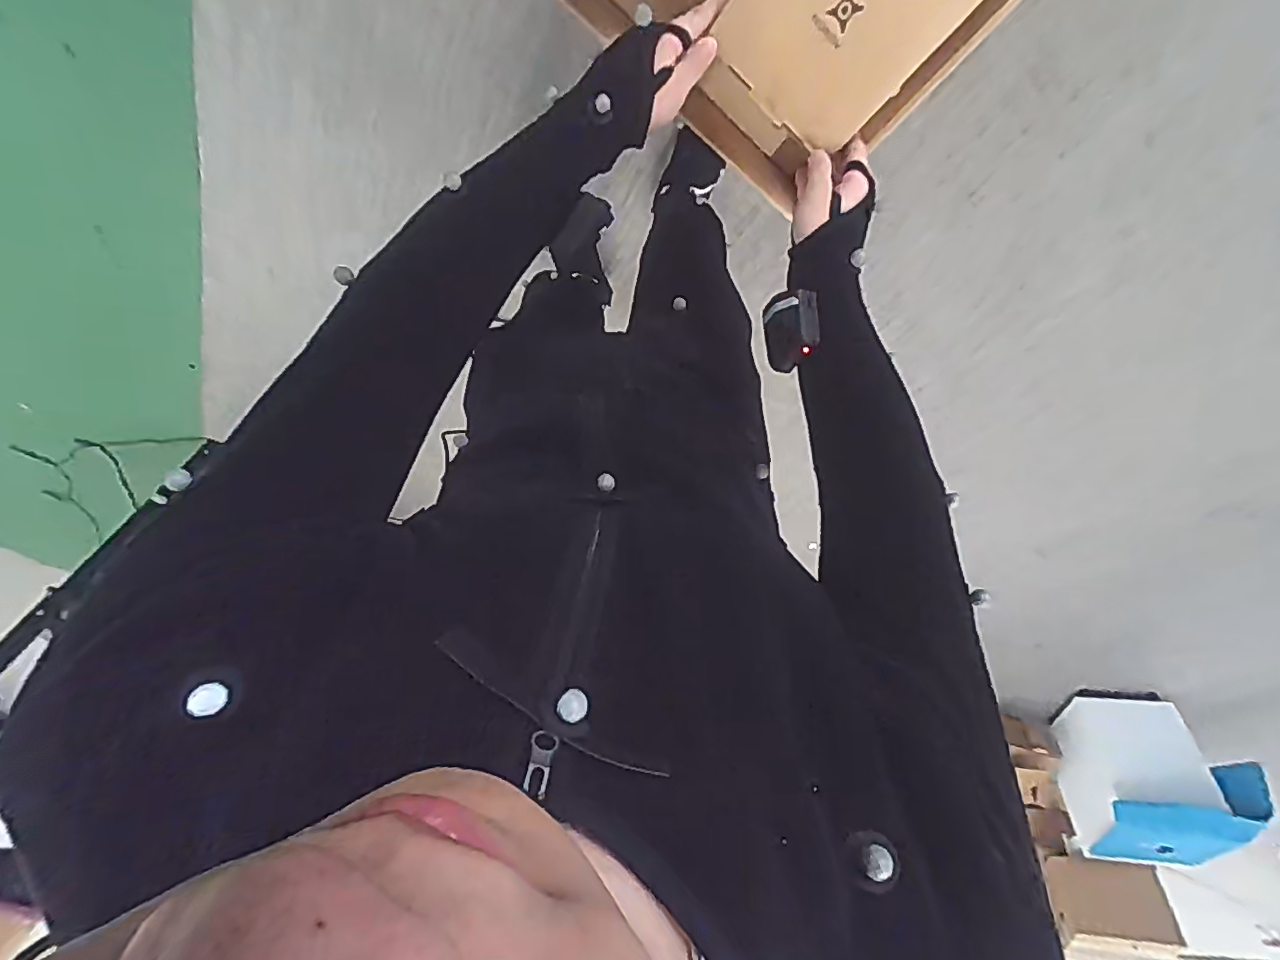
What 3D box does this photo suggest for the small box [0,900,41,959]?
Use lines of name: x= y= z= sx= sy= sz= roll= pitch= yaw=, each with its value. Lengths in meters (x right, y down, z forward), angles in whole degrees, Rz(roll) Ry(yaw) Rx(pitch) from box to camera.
small box: x=-1.727 y=1.202 z=1.402 sx=0.179 sy=0.176 sz=0.168 roll=28 pitch=136 yaw=-16

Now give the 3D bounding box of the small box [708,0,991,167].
small box: x=0.187 y=-0.453 z=0.516 sx=0.168 sy=0.176 sz=0.179 roll=32 pitch=133 yaw=-22
